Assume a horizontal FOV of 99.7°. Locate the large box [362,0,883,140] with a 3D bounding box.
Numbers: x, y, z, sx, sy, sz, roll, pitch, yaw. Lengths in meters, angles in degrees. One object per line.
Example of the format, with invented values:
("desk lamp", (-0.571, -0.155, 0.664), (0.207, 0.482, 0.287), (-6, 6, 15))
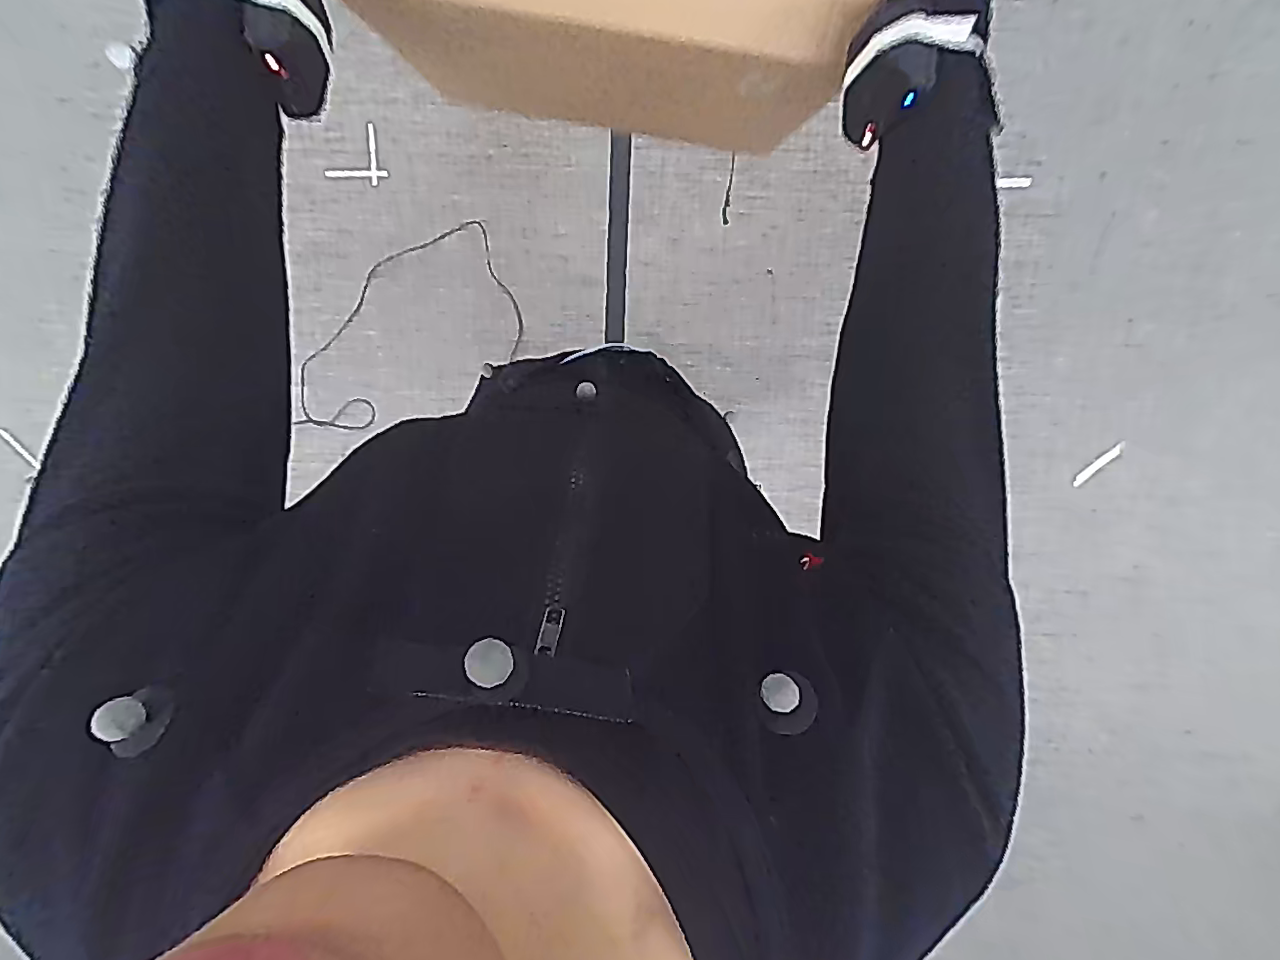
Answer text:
("large box", (-0.011, -0.530, 0.474), (0.408, 0.320, 0.320), (7, 113, -4))
